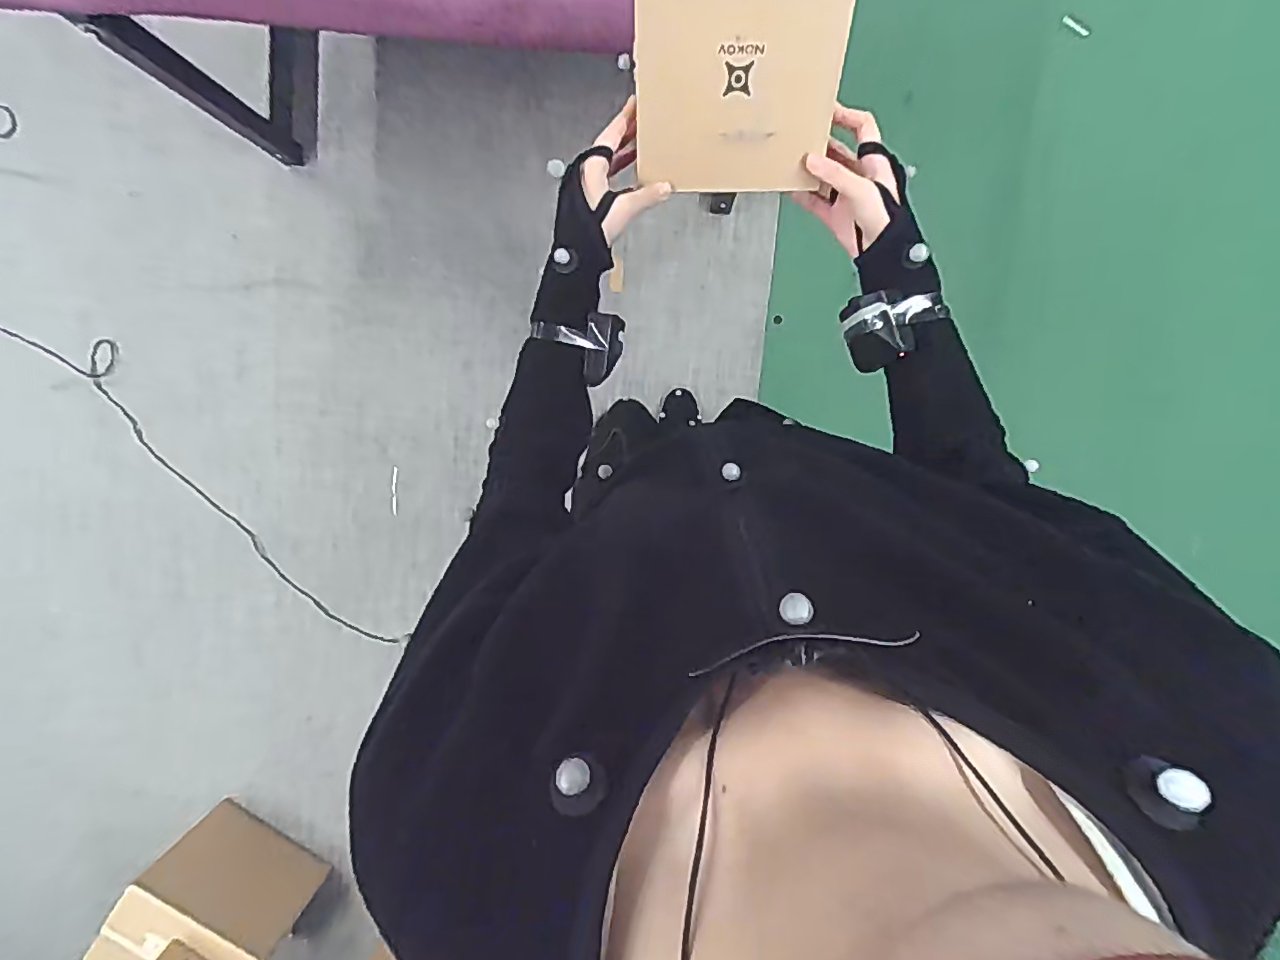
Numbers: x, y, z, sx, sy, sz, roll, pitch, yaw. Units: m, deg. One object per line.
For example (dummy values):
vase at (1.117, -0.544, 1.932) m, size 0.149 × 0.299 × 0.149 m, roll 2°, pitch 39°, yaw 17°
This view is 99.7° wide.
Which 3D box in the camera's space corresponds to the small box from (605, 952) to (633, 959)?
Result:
small box at (-0.060, 1.283, 1.272) m, size 0.168 × 0.176 × 0.179 m, roll -32°, pitch 95°, yaw 5°

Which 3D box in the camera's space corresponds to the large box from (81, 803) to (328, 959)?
large box at (-1.212, 1.236, 1.542) m, size 0.408 × 0.320 × 0.320 m, roll 34°, pitch 97°, yaw -1°

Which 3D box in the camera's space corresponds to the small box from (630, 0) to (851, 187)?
small box at (0.074, -0.379, 0.481) m, size 0.168 × 0.176 × 0.179 m, roll 0°, pitch 133°, yaw 1°
